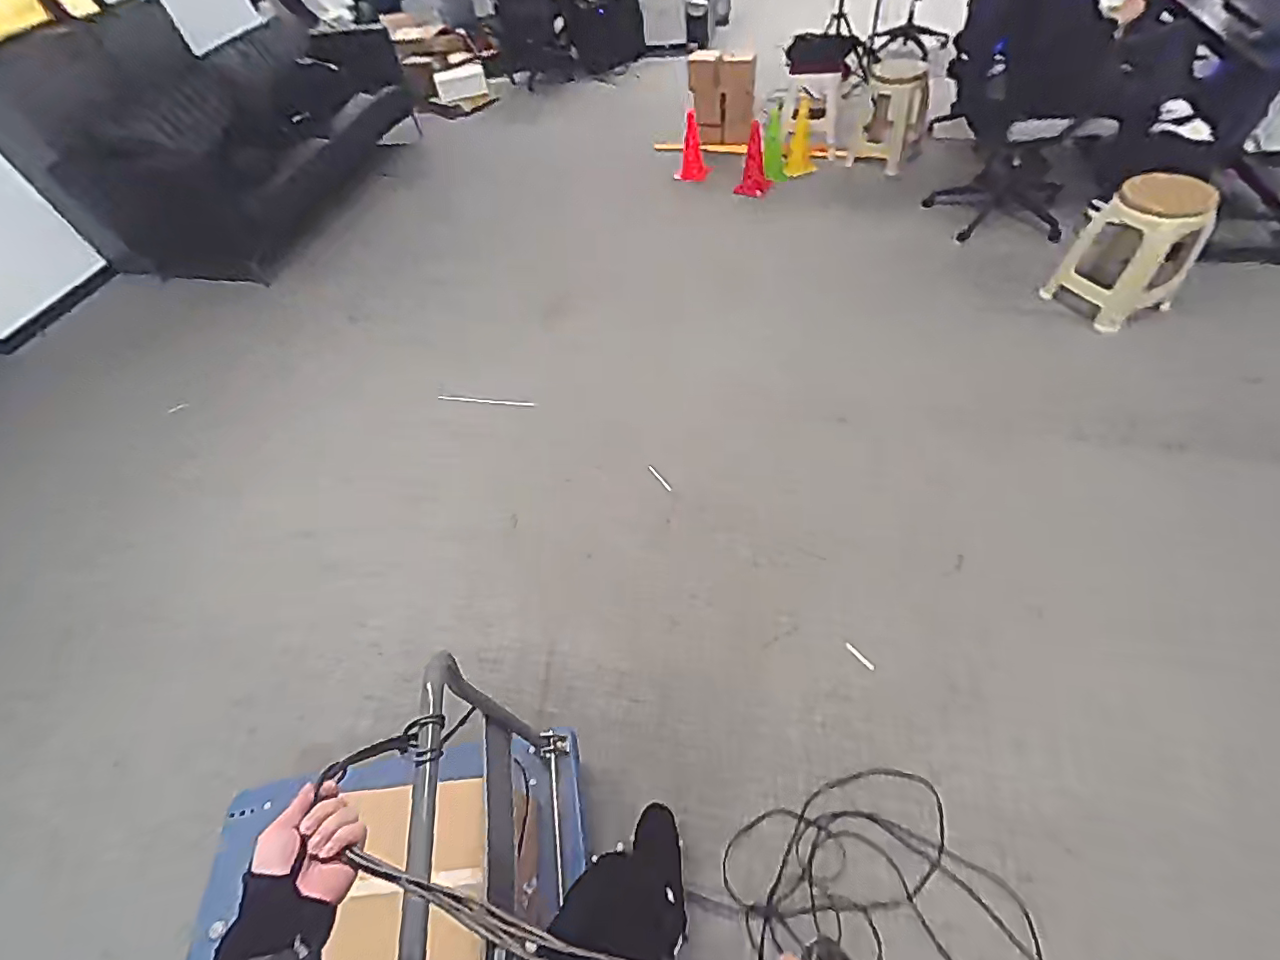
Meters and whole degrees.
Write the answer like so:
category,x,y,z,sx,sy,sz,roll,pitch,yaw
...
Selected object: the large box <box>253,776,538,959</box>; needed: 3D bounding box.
category,x,y,z,sx,sy,sz,roll,pitch,yaw
large box,-0.431,0.794,1.049,0.408,0.320,0.320,-8,52,3
